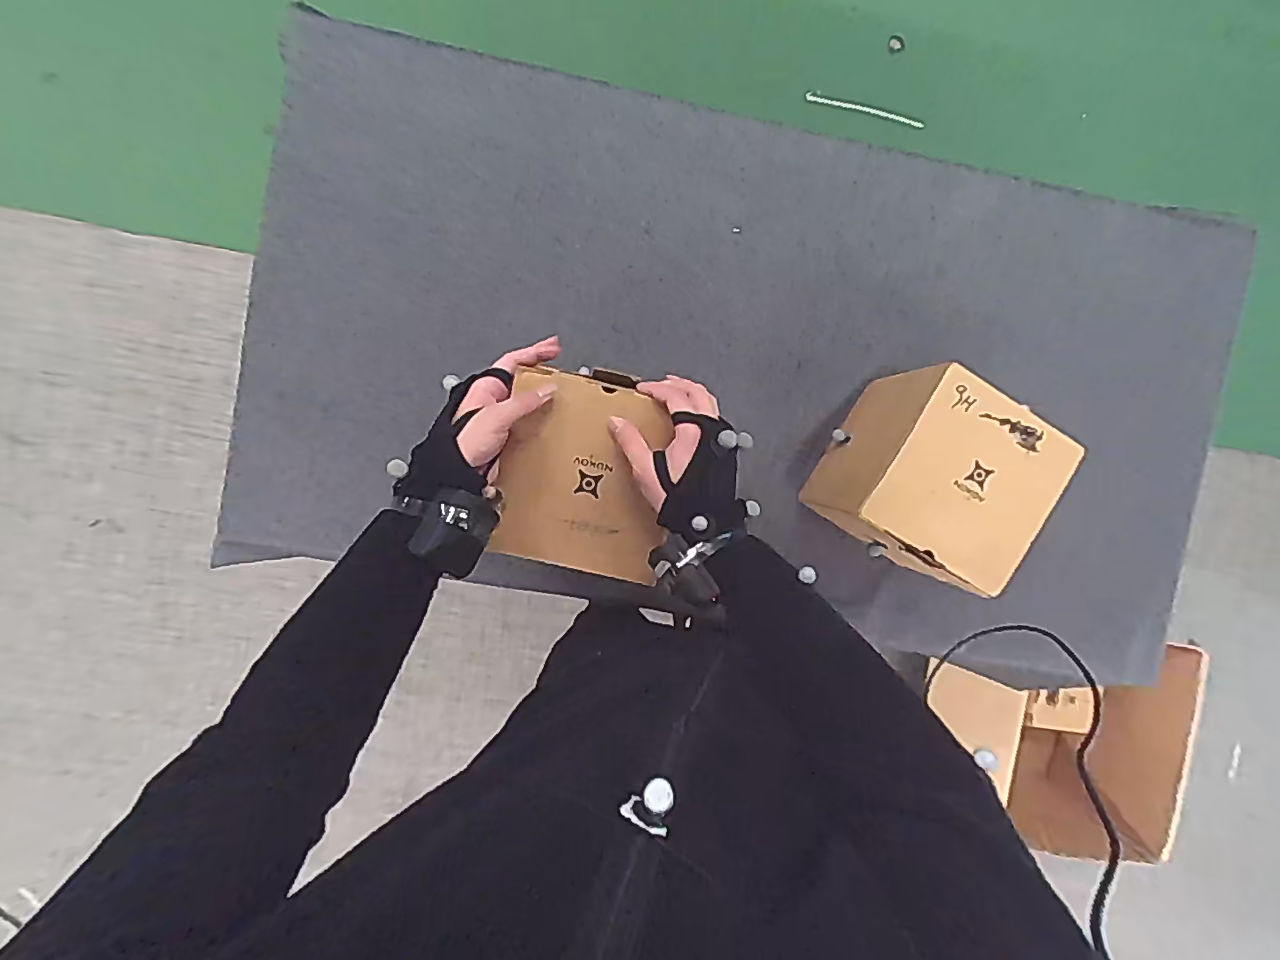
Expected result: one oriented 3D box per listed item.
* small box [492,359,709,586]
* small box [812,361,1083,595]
[{"bbox_3d":[-0.039,-0.011,0.565,0.168,0.176,0.179,13,94,-3],"label":"small box"},{"bbox_3d":[0.318,-0.005,0.606,0.168,0.176,0.179,33,92,-4],"label":"small box"}]
